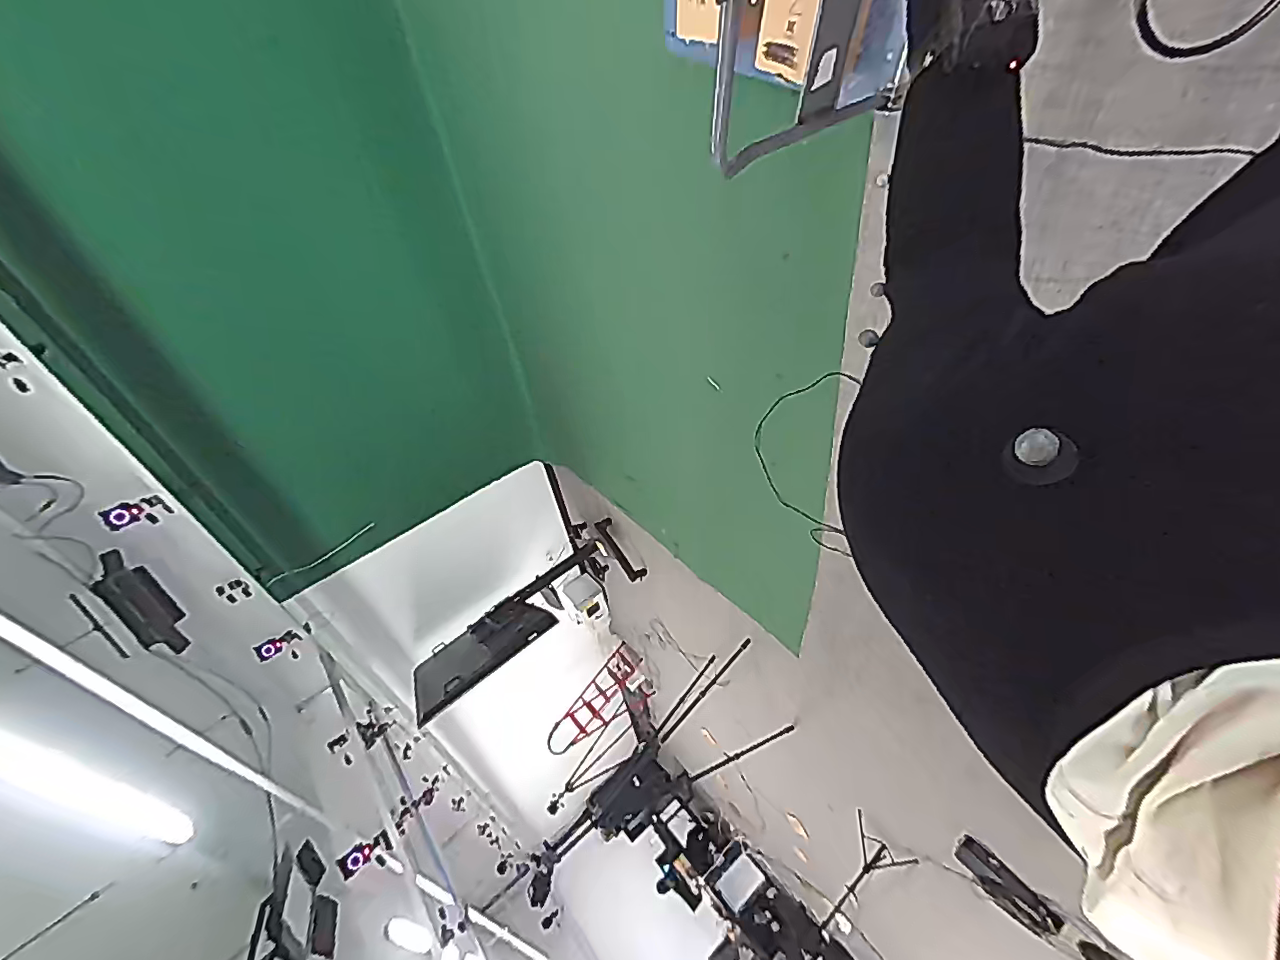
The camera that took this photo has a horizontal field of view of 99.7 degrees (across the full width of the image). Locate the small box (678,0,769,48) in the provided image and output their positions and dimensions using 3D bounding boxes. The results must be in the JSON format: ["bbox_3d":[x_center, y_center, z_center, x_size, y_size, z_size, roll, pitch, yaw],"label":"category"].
[{"bbox_3d":[0.216,-1.220,1.363,0.179,0.176,0.168,41,151,32],"label":"small box"}]
